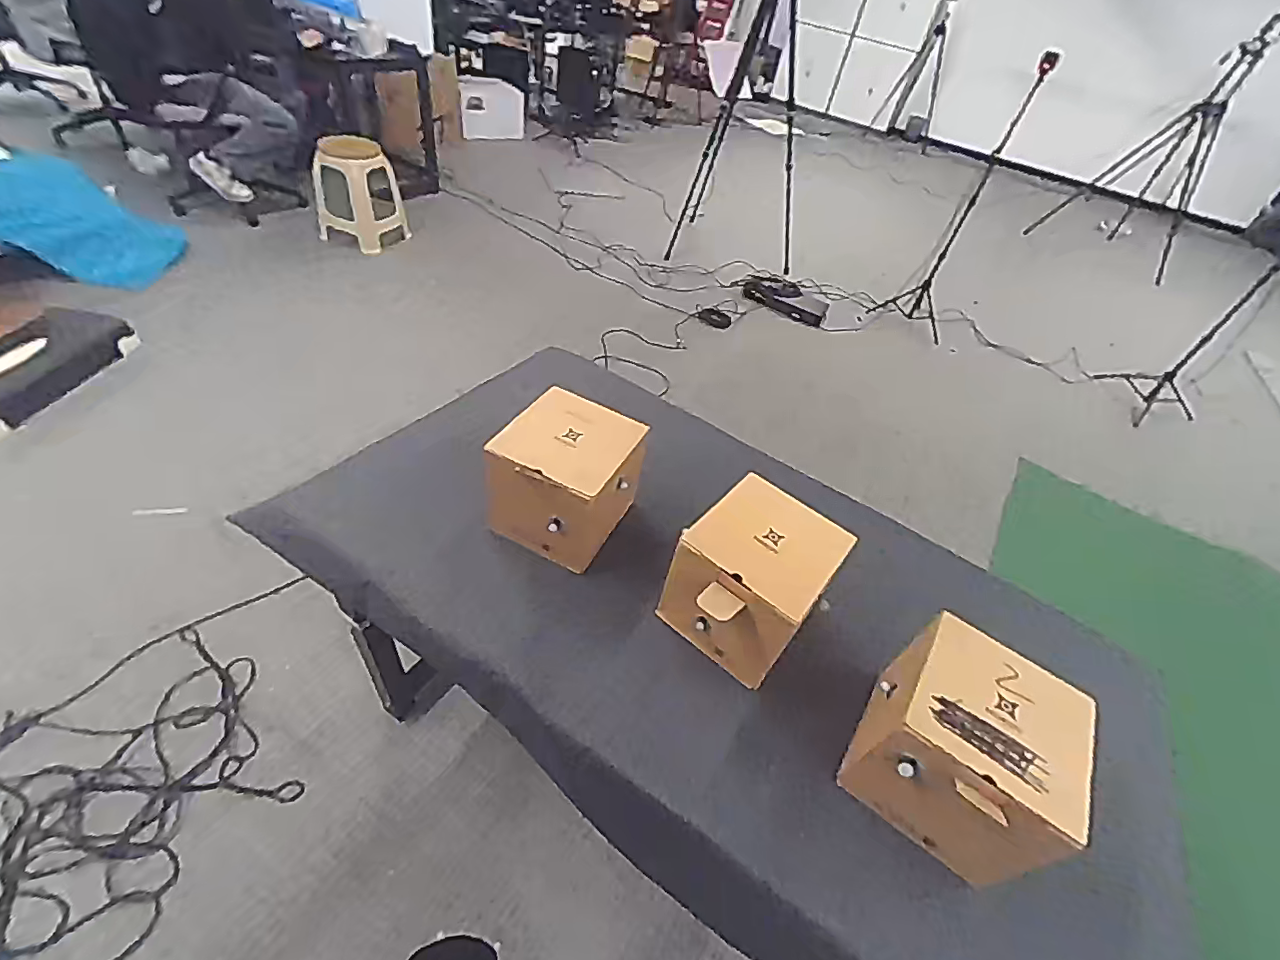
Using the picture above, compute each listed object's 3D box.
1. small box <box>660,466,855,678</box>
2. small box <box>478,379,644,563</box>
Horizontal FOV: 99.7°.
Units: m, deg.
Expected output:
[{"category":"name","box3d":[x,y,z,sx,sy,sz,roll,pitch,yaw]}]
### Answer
[{"category":"small box","box3d":[0.146,0.120,0.714,0.168,0.176,0.179,35,48,21]},{"category":"small box","box3d":[-0.113,-0.012,0.789,0.168,0.176,0.179,25,44,11]}]
